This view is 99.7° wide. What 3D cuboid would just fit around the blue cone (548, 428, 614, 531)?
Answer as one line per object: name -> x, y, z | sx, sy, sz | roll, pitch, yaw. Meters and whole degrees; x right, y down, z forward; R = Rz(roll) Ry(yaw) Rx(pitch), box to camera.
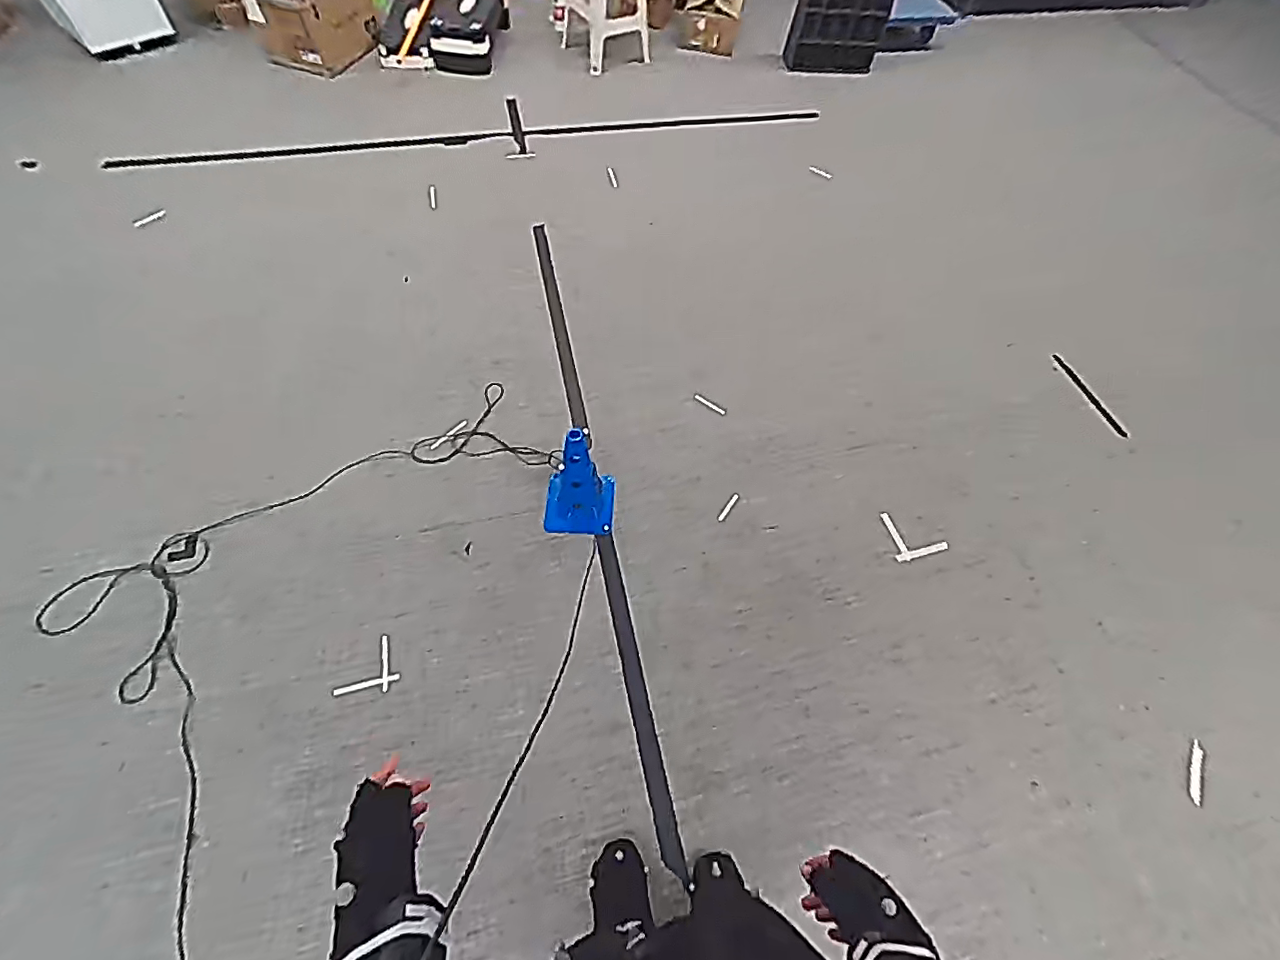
blue cone -> -0.163, -0.019, 1.474 | 0.192, 0.380, 0.193 | 4, 59, -2
